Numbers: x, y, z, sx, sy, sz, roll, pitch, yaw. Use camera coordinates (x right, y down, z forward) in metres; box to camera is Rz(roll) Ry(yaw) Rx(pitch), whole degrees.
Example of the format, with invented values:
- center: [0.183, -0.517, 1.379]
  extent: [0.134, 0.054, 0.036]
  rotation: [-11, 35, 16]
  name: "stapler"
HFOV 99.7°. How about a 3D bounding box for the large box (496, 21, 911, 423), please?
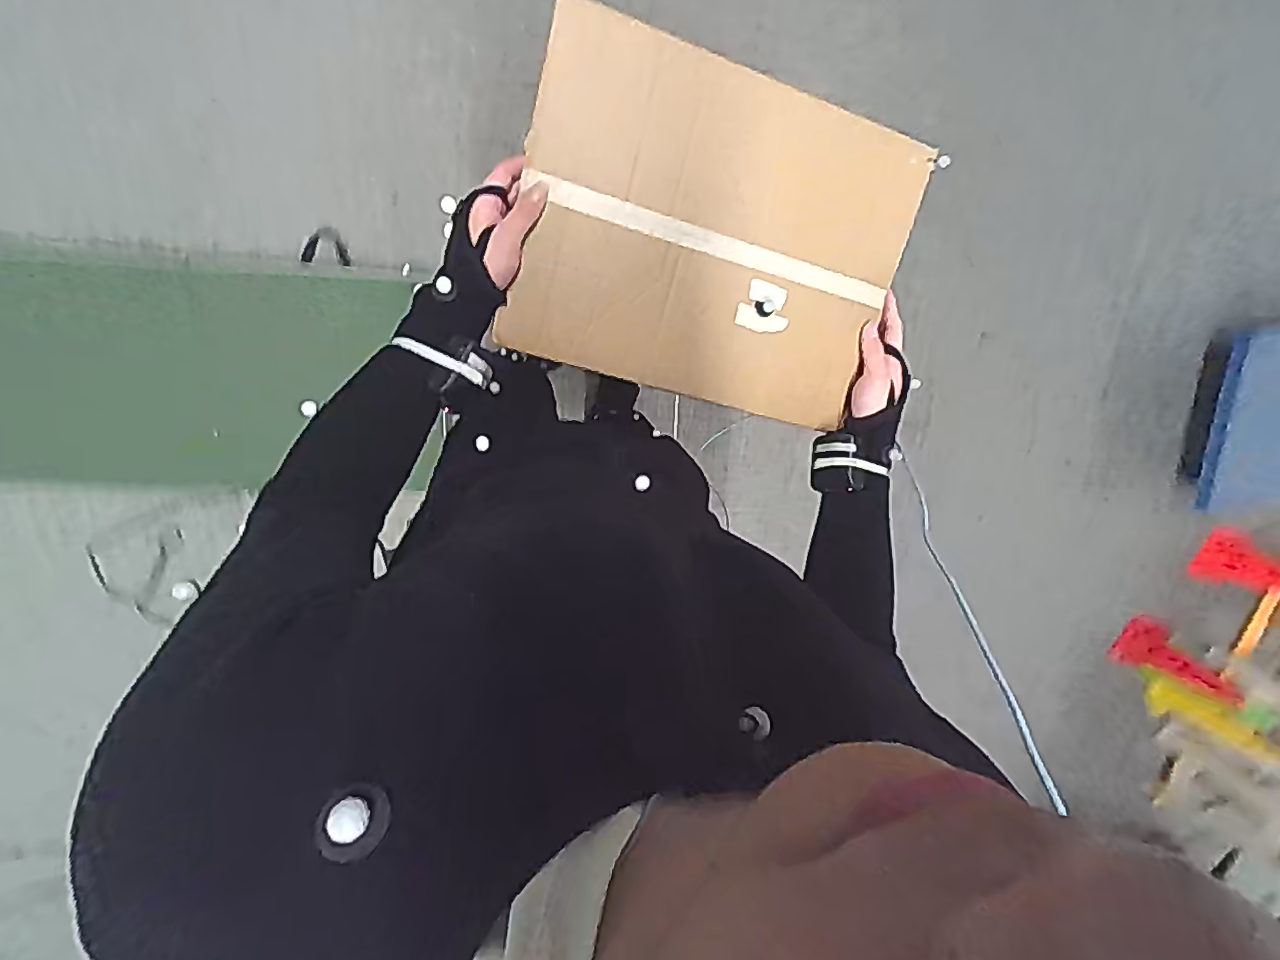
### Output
- center: [0.042, -0.284, 0.710]
  extent: [0.408, 0.320, 0.320]
  rotation: [11, 105, -14]
  name: "large box"
